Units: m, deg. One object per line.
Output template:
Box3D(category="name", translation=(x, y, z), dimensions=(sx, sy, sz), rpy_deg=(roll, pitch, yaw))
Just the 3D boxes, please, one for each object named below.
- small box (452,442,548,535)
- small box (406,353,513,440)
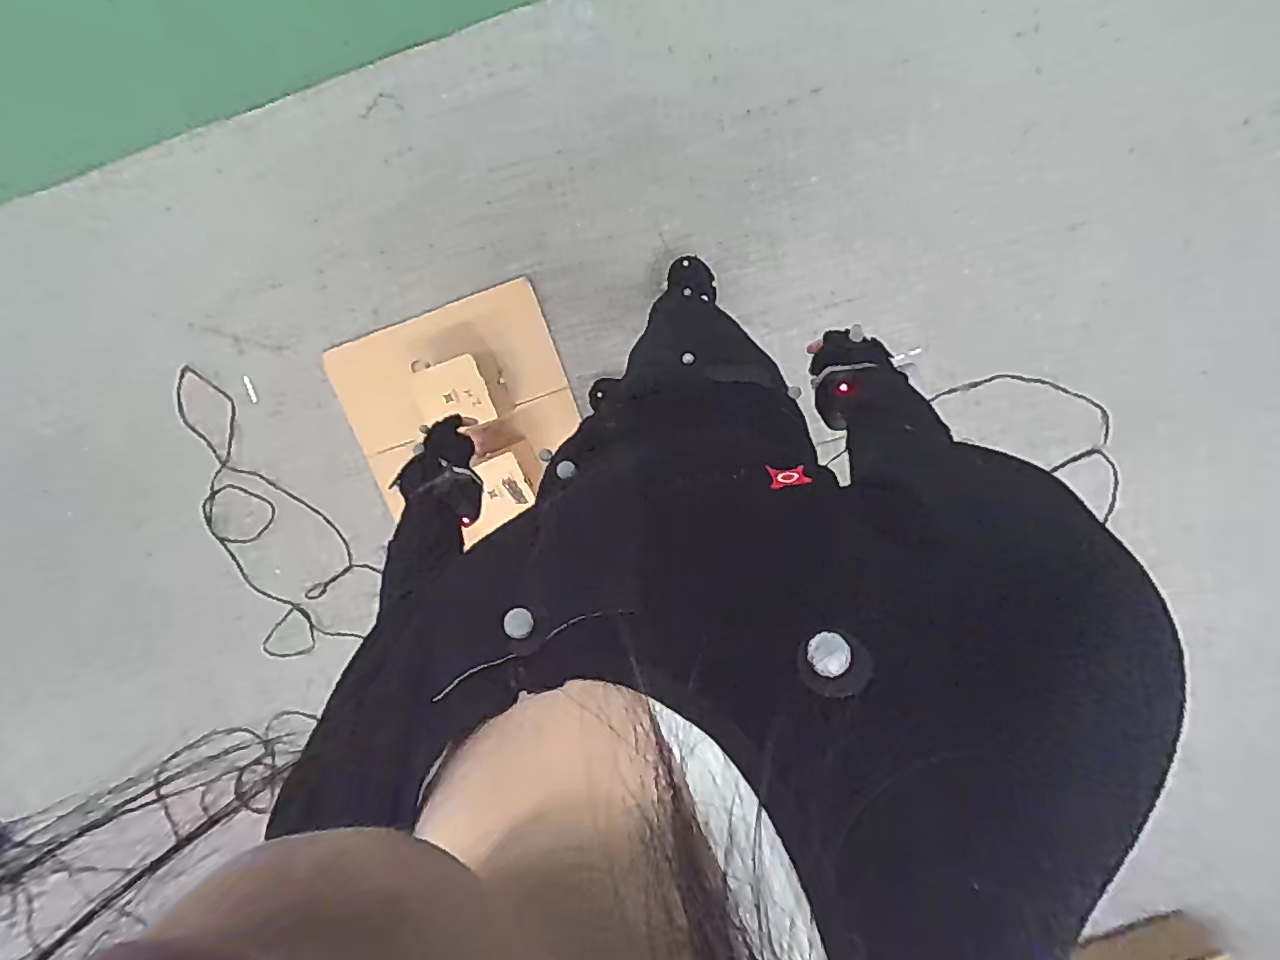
Box3D(category="small box", translation=(-0.353, 0.014, 1.413), dimensions=(0.179, 0.176, 0.168), rpy_deg=(-23, 103, 8))
Box3D(category="small box", translation=(-0.444, -0.214, 1.360), dimensions=(0.179, 0.176, 0.168), rpy_deg=(-18, 105, 6))
